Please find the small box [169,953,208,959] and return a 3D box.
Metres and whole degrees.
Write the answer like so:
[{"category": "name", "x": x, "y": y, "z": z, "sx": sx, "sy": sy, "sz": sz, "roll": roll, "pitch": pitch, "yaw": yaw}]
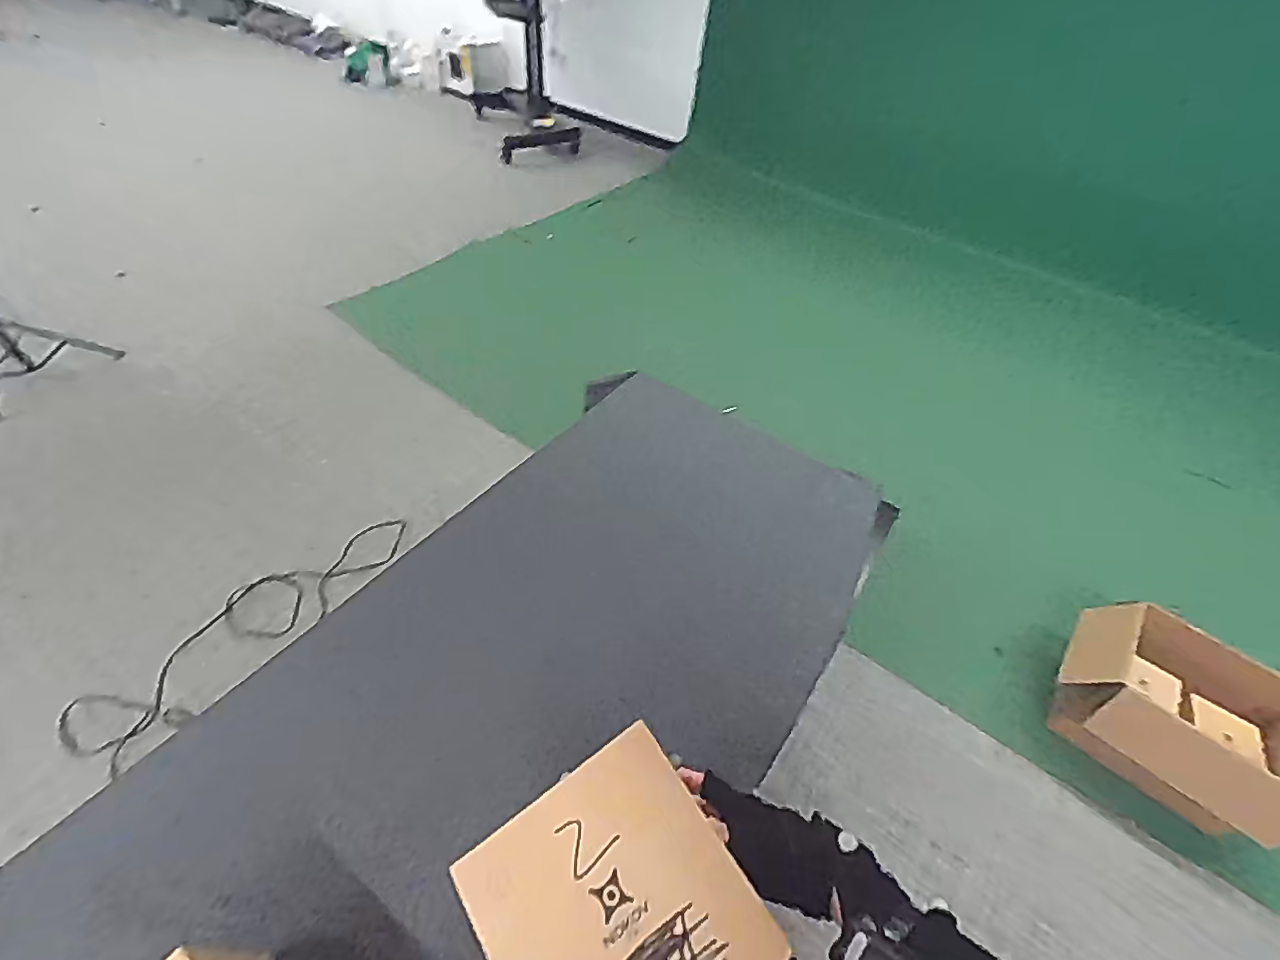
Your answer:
[{"category": "small box", "x": -0.343, "y": 0.501, "z": 0.391, "sx": 0.179, "sy": 0.176, "sz": 0.168, "roll": 32, "pitch": 51, "yaw": 22}]
